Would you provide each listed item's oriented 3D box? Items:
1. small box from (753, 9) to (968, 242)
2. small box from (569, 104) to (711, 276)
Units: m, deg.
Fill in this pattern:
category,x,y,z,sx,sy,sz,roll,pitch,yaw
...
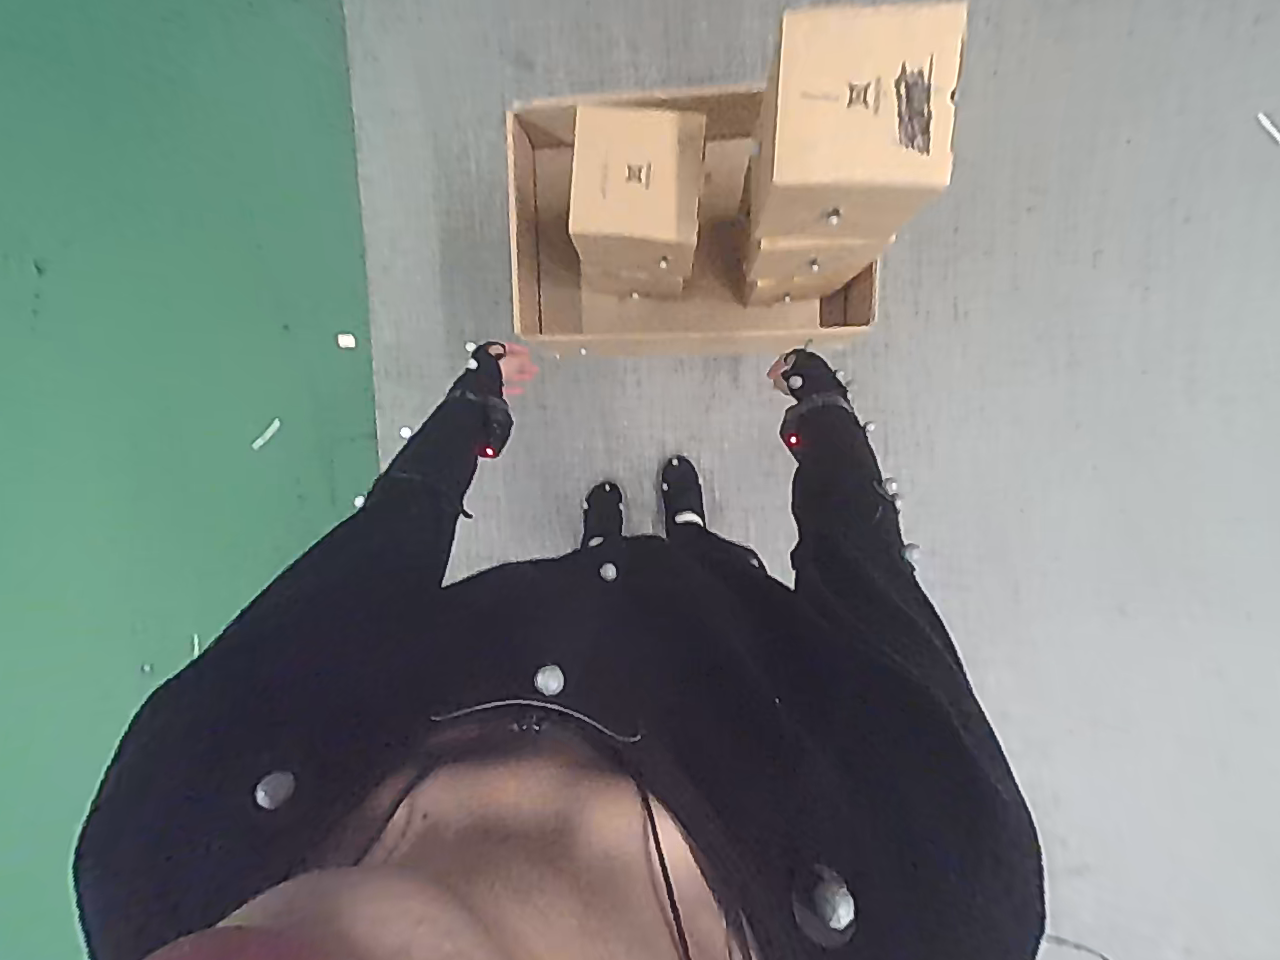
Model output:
category,x,y,z,sx,sy,sz,roll,pitch,yaw
small box,0.230,-0.381,0.610,0.179,0.176,0.168,3,96,6
small box,0.001,-0.409,0.793,0.179,0.176,0.168,6,95,2
